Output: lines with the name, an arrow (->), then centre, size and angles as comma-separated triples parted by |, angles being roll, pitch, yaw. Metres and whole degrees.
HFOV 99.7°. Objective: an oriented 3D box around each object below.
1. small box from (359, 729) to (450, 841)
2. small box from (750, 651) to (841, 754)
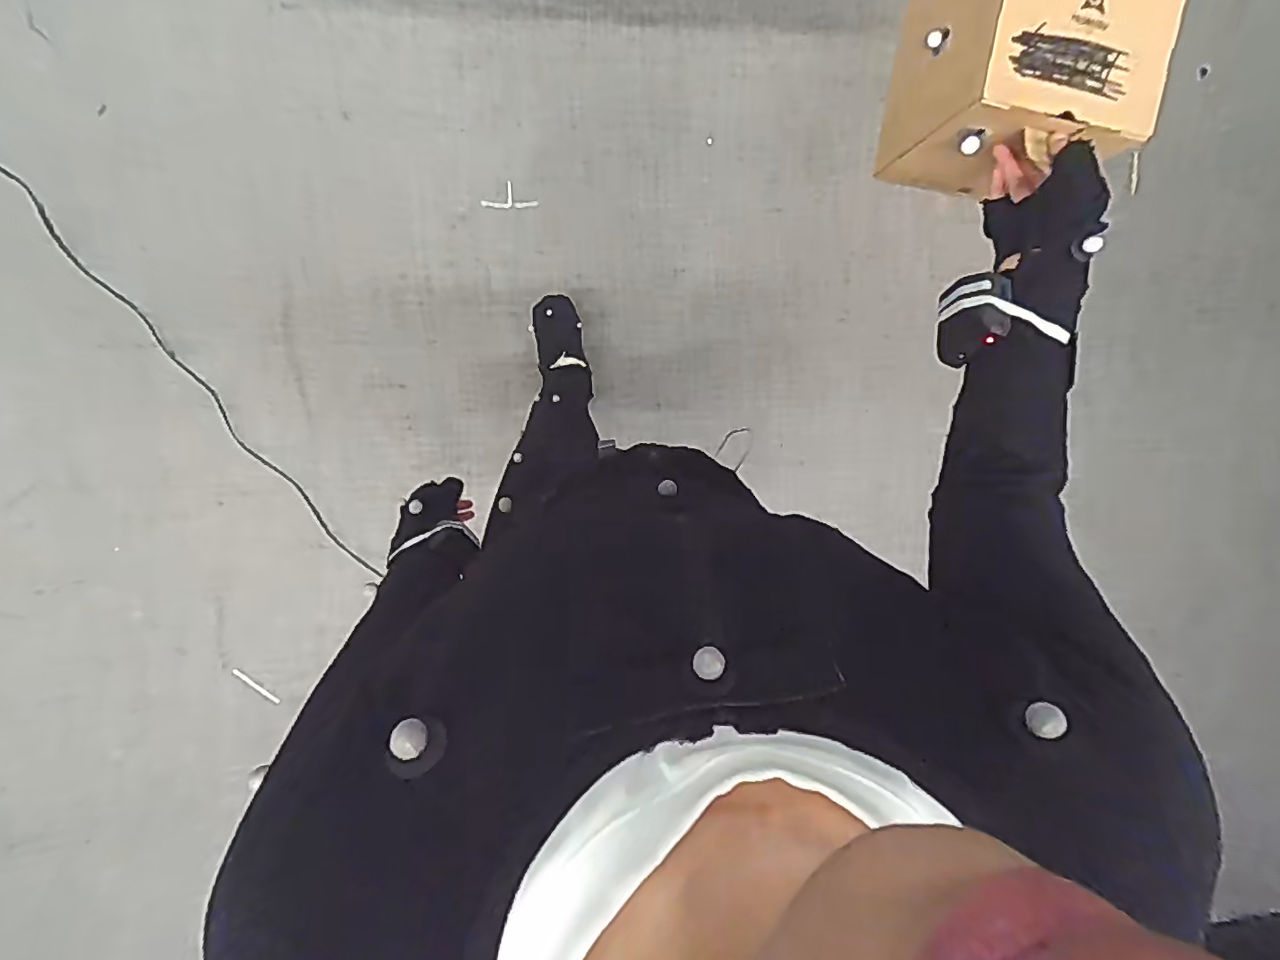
small box -> -0.538, 0.691, 1.236 | 0.168, 0.176, 0.179 | 0, 97, -7
small box -> 0.377, 0.536, 1.330 | 0.168, 0.176, 0.179 | -5, 97, -6
